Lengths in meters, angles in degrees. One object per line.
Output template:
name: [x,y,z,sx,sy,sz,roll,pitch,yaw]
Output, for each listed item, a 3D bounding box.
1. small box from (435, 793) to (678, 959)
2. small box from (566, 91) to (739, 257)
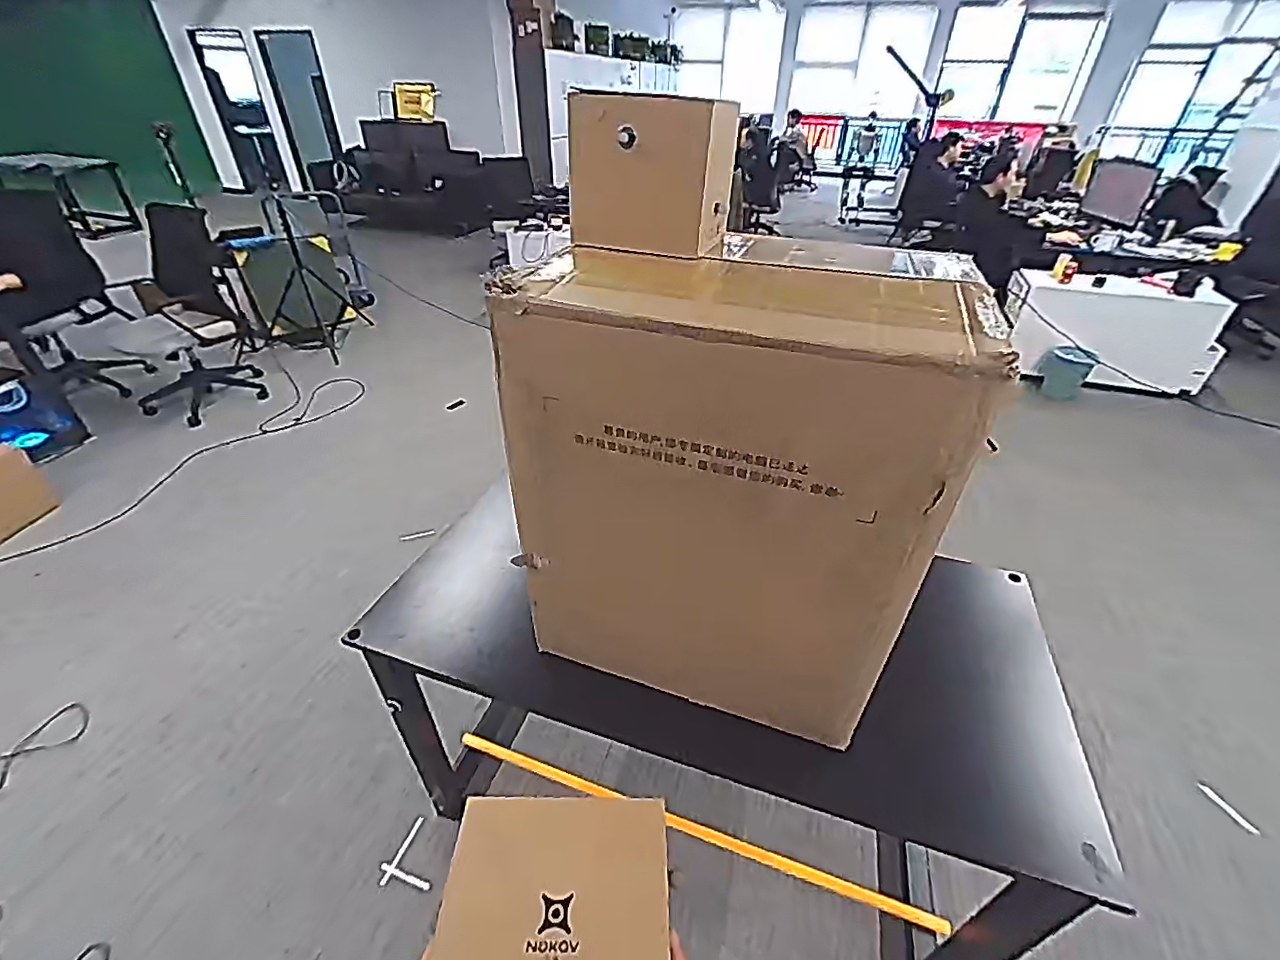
small box: [-0.057,0.377,0.425,0.168,0.176,0.179,0,36,0]
small box: [0.018,-0.398,0.708,0.179,0.176,0.168,13,36,14]
